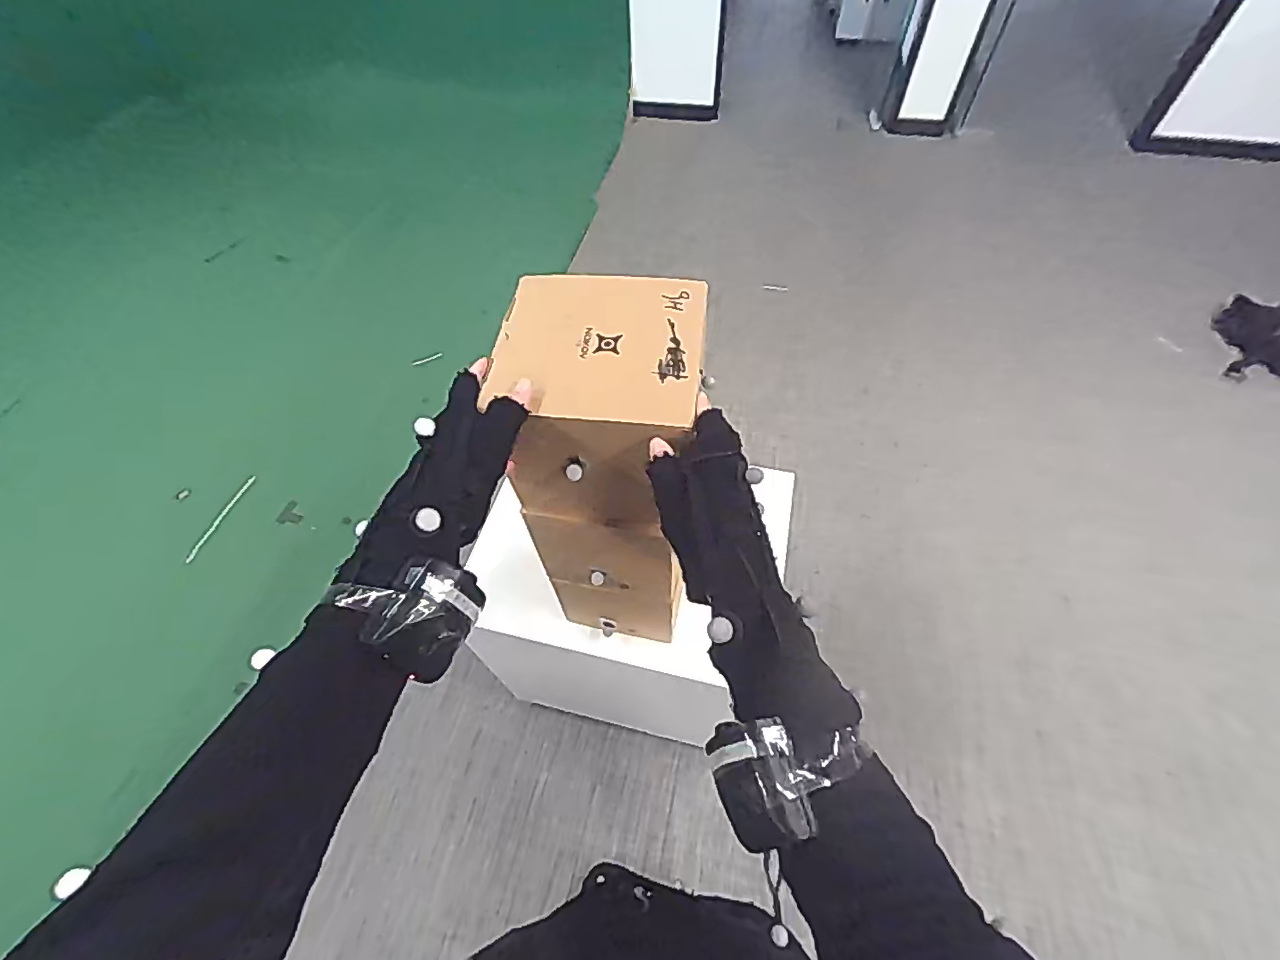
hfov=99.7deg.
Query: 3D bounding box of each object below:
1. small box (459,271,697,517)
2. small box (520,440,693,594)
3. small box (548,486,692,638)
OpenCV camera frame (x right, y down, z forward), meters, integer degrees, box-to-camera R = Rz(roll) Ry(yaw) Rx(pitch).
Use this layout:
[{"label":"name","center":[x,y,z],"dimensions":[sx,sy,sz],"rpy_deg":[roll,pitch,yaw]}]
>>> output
[{"label":"small box","center":[-0.039,-0.076,0.517],"dimensions":[0.179,0.176,0.168],"rpy_deg":[5,60,8]},{"label":"small box","center":[-0.028,0.016,0.658],"dimensions":[0.168,0.176,0.179],"rpy_deg":[7,55,8]},{"label":"small box","center":[-0.020,0.110,0.793],"dimensions":[0.168,0.176,0.179],"rpy_deg":[8,58,10]}]
